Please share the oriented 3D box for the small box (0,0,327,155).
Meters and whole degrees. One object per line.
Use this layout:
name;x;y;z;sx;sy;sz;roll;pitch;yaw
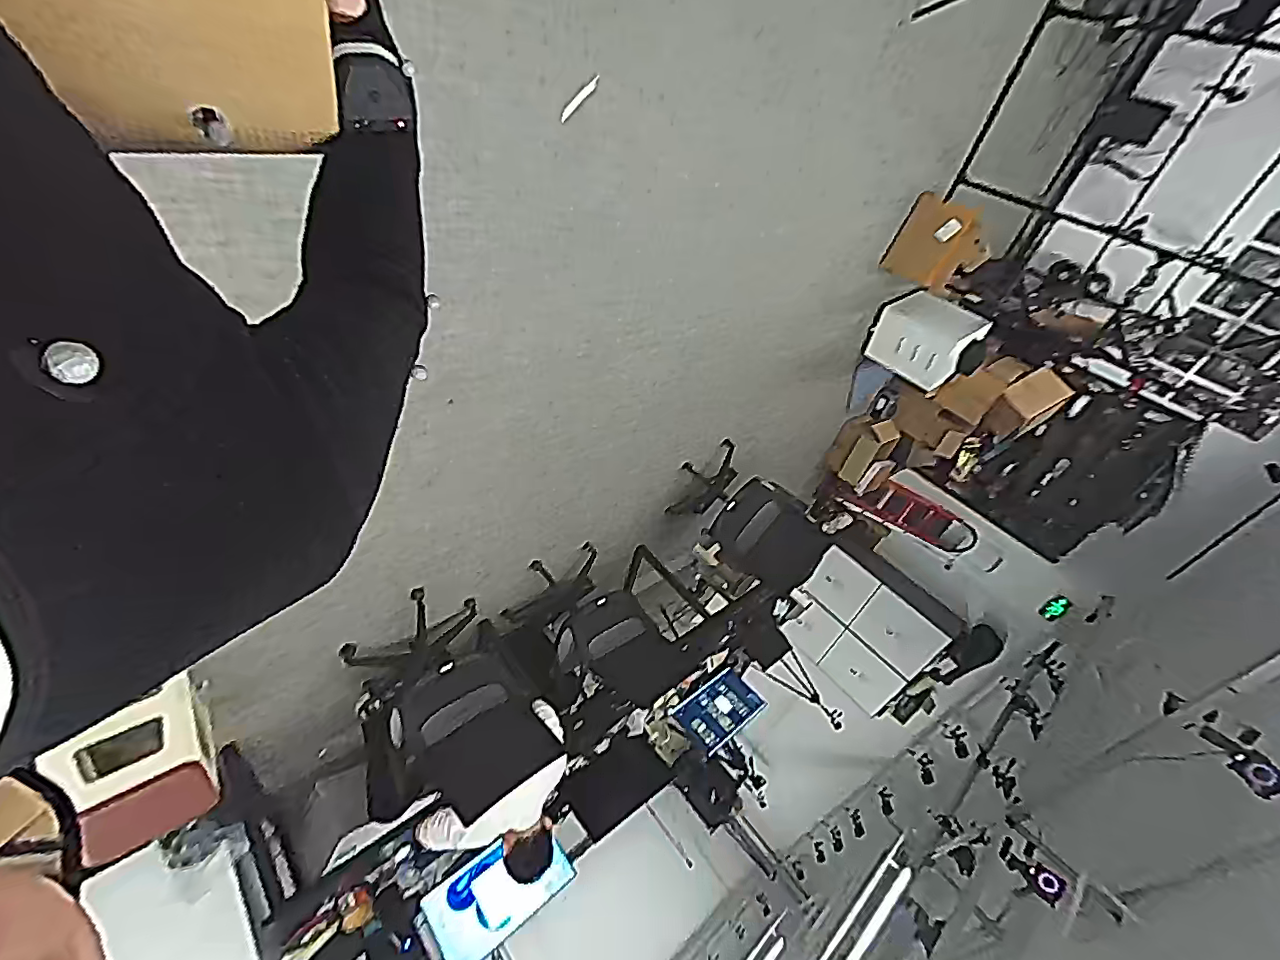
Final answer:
small box;-0.334;-0.355;0.374;0.179;0.168;0.176;-18;-179;-26
